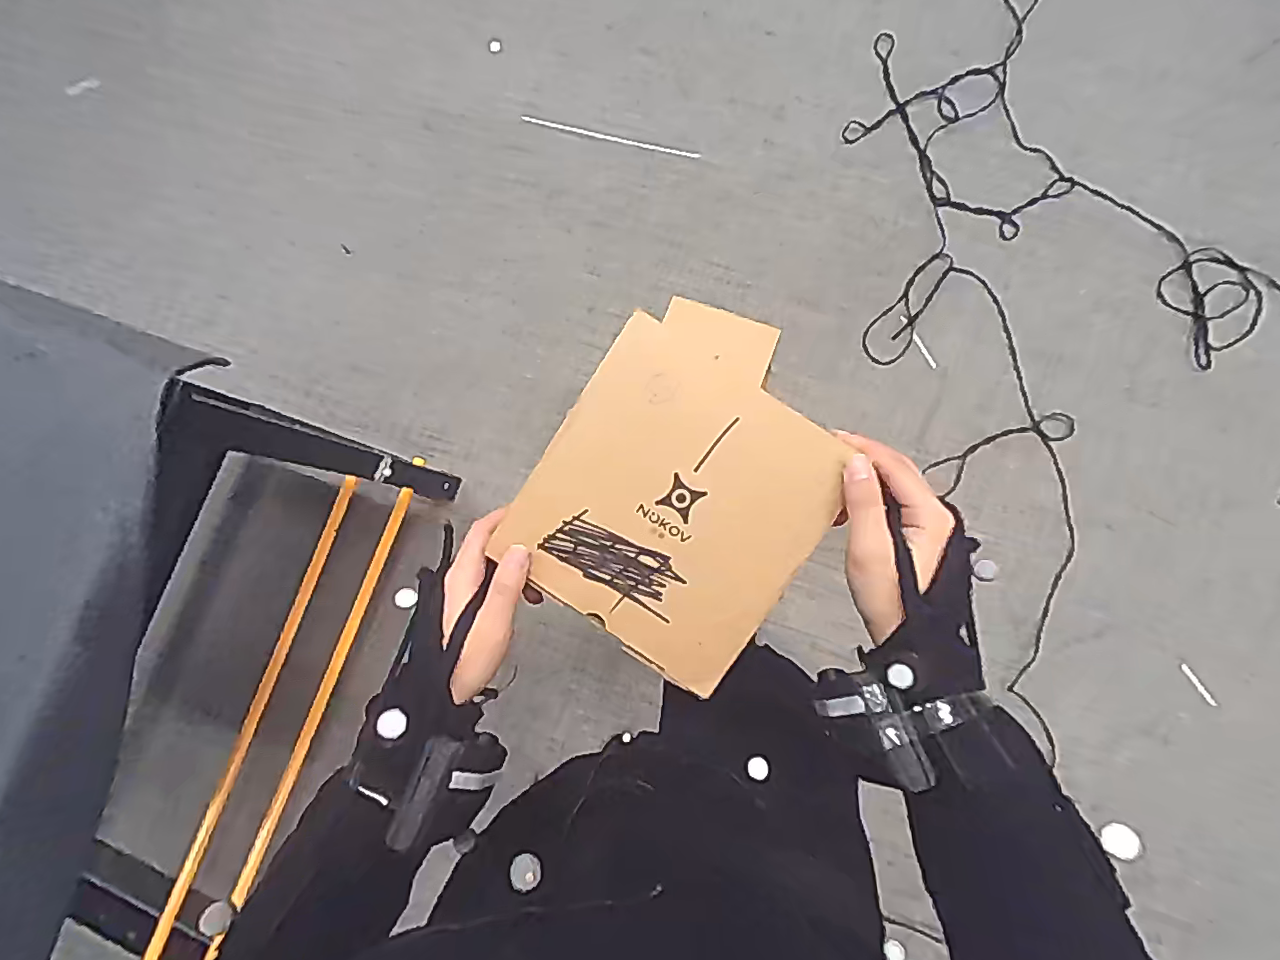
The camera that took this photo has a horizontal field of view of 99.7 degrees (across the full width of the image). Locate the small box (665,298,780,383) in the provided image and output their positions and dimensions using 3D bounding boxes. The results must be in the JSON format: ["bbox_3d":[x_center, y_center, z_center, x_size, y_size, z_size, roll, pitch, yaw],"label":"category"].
[{"bbox_3d":[0.099,-0.147,0.841,0.168,0.176,0.179,20,85,8],"label":"small box"}]

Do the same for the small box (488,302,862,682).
[{"bbox_3d":[0.024,0.004,0.403,0.168,0.176,0.179,33,96,1],"label":"small box"}]
